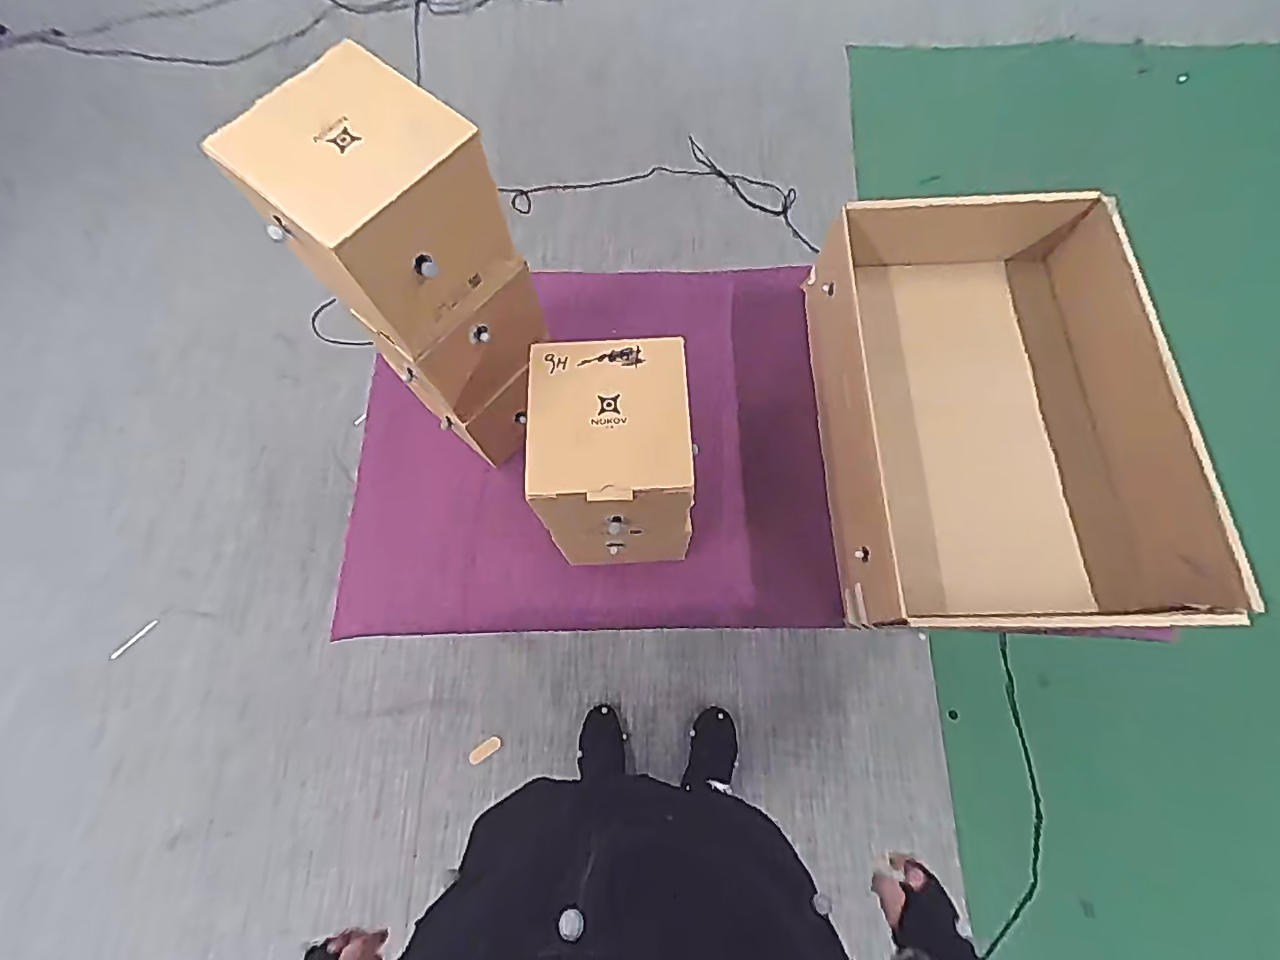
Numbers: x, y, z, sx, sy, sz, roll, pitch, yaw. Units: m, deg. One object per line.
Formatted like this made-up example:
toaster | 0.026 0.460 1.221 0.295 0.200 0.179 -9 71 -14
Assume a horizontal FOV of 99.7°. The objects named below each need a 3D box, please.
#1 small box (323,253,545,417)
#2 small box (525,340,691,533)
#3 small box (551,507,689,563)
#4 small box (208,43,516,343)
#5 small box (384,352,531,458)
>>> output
small box | -0.243 -0.211 0.688 0.168 0.176 0.179 41 76 12
small box | -0.030 -0.038 0.623 0.168 0.176 0.179 -2 71 0
small box | -0.026 0.021 0.775 0.179 0.176 0.168 -3 70 0
small box | -0.250 -0.264 0.535 0.179 0.176 0.168 39 77 12
small box | -0.246 -0.155 0.841 0.179 0.176 0.168 40 76 13
